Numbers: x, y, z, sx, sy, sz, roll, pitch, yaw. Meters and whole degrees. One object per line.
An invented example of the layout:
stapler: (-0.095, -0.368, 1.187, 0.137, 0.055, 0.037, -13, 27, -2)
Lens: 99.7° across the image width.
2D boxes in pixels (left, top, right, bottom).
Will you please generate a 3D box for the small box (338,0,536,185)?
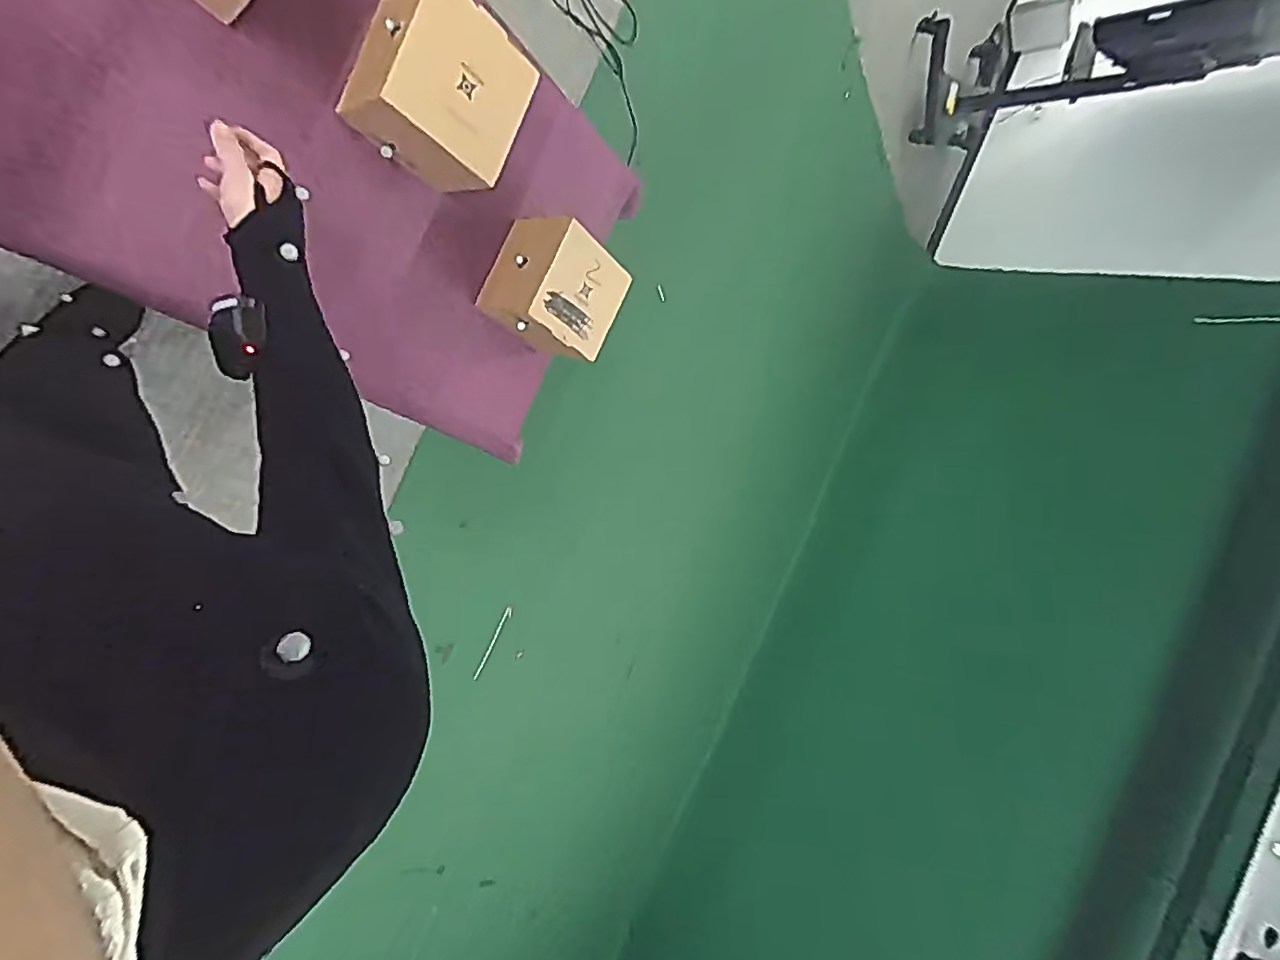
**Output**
small box: (-0.280, -0.536, 0.740, 0.168, 0.176, 0.179, 24, 90, -50)
